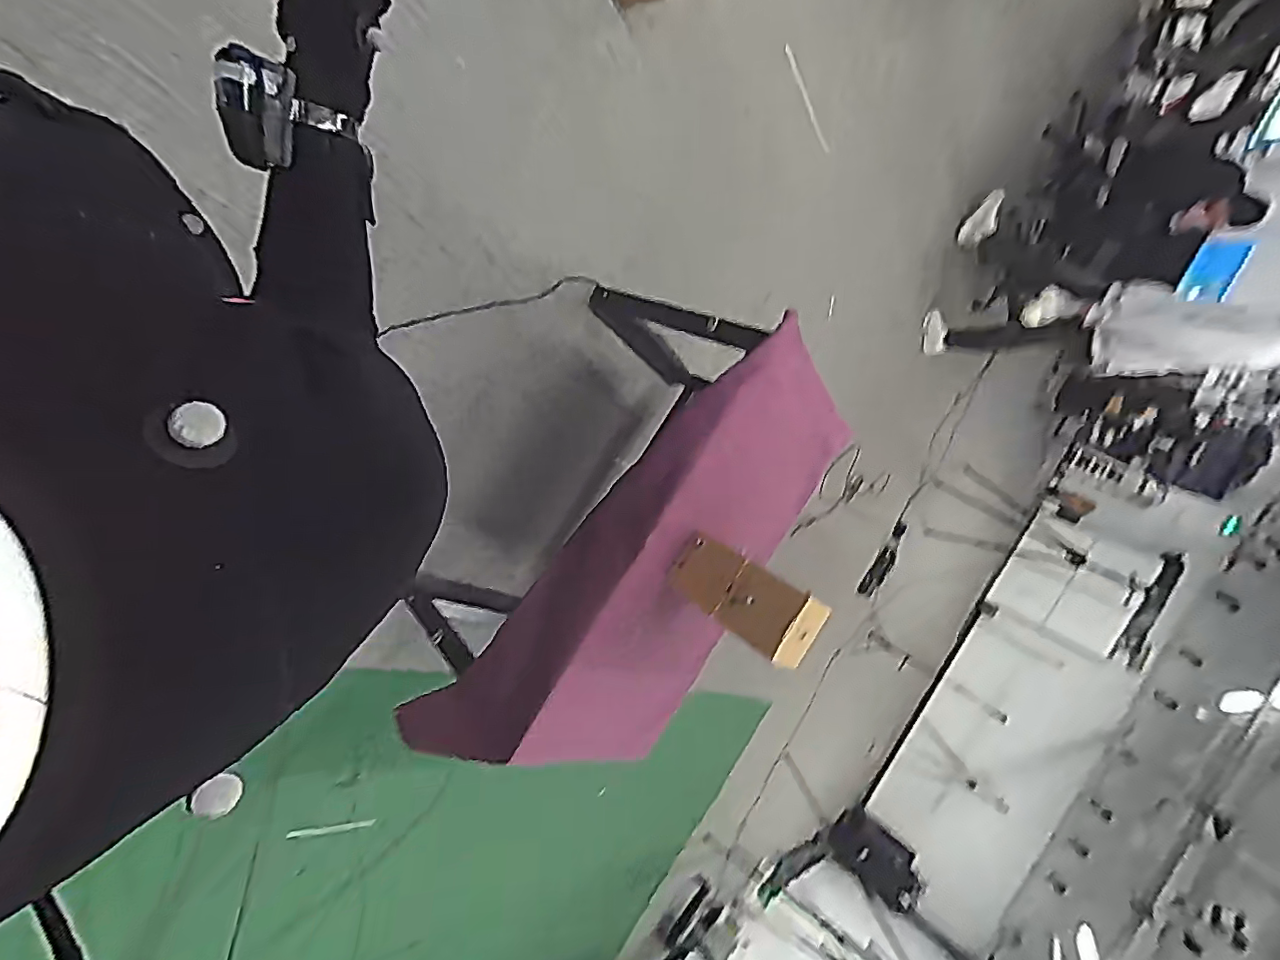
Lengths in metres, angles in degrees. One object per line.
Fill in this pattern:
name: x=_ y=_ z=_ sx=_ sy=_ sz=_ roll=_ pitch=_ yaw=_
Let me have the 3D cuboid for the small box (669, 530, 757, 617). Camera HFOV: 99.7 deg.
small box: x=0.205 y=0.246 z=1.373 sx=0.168 sy=0.176 sz=0.179 roll=-57 pitch=140 yaw=-2

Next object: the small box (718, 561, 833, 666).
small box: x=0.317 y=0.311 z=1.271 sx=0.179 sy=0.176 sz=0.168 roll=34 pitch=87 yaw=-49
